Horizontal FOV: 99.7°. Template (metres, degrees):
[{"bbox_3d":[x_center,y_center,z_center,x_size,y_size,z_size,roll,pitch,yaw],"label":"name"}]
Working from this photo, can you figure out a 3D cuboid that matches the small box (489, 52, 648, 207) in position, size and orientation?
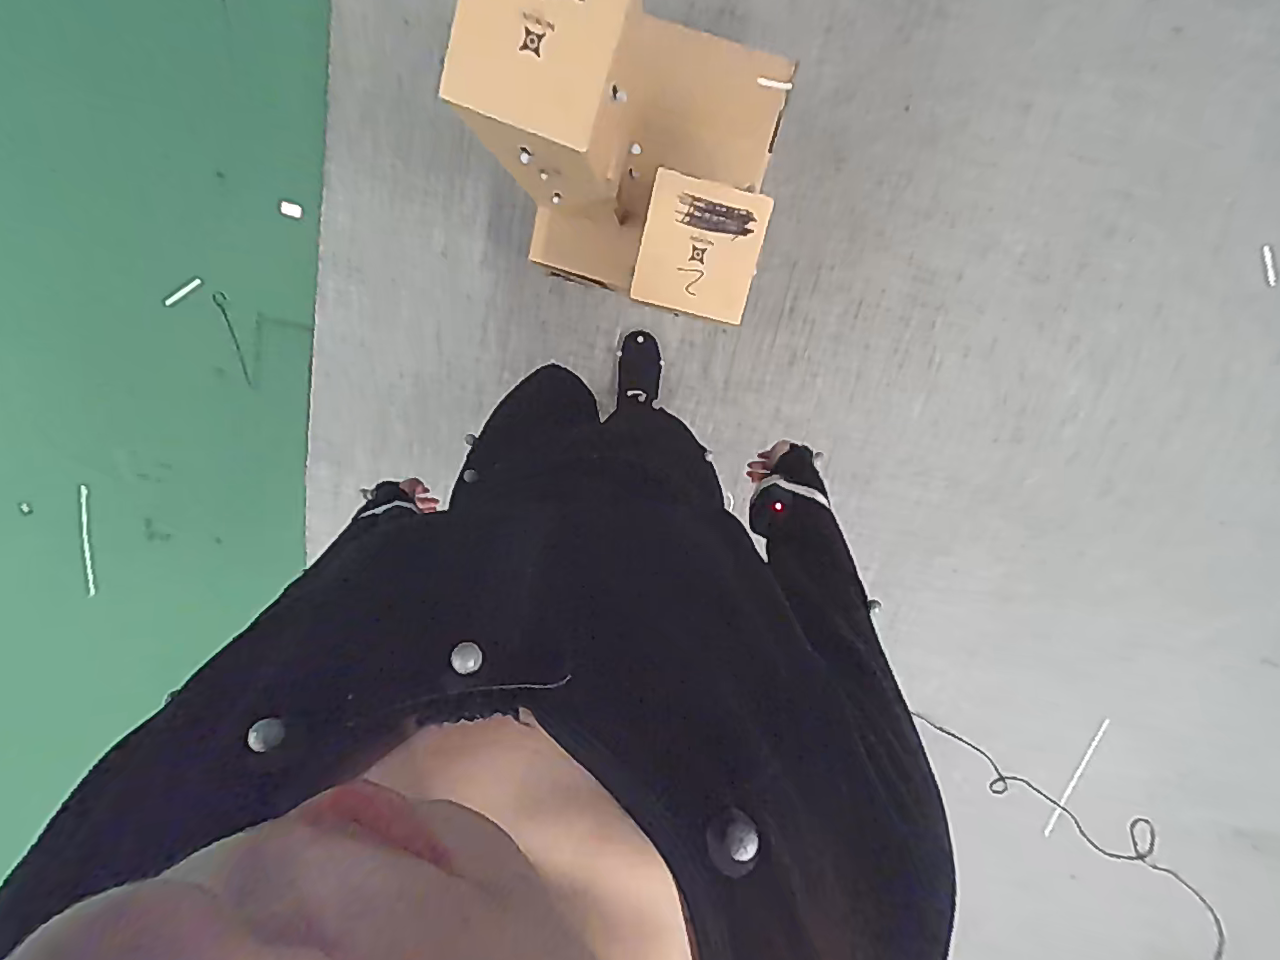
[{"bbox_3d":[-0.095,-0.515,0.782,0.179,0.176,0.168,14,105,1],"label":"small box"}]

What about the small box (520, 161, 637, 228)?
[{"bbox_3d":[-0.096,-0.565,0.942,0.168,0.176,0.179,14,104,-2],"label":"small box"}]

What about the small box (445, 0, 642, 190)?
[{"bbox_3d":[-0.099,-0.467,0.627,0.168,0.176,0.179,20,105,-4],"label":"small box"}]

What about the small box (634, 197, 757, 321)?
[{"bbox_3d":[0.093,-0.392,0.985,0.179,0.176,0.168,13,105,-2],"label":"small box"}]
